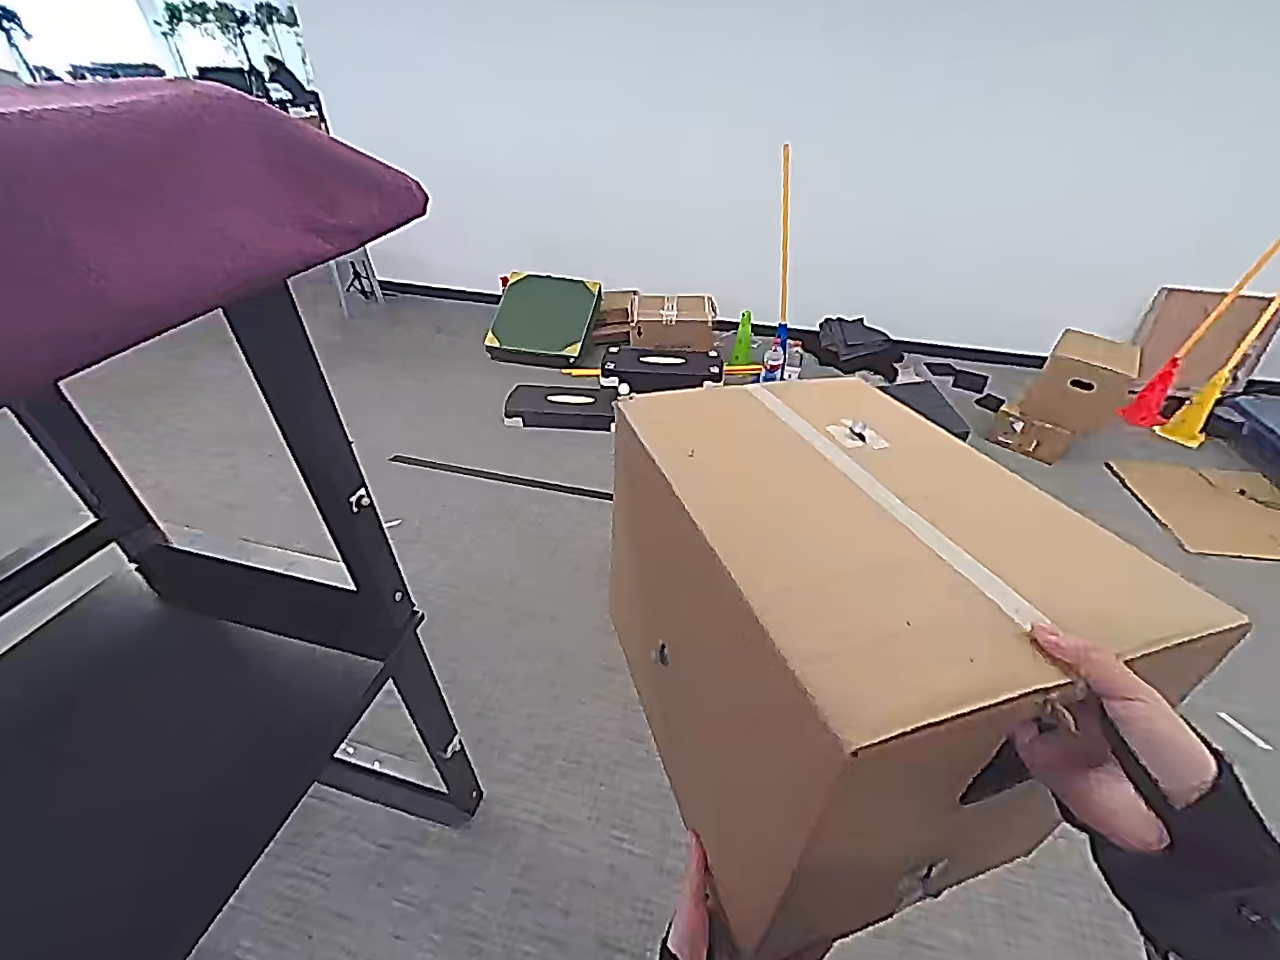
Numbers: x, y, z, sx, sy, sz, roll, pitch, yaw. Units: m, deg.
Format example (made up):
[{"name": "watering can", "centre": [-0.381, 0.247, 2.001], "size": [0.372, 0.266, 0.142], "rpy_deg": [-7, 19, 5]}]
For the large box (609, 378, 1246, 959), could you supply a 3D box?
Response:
[{"name": "large box", "centre": [0.169, 0.128, 0.526], "size": [0.320, 0.320, 0.408], "rpy_deg": [-7, 34, -17]}]
